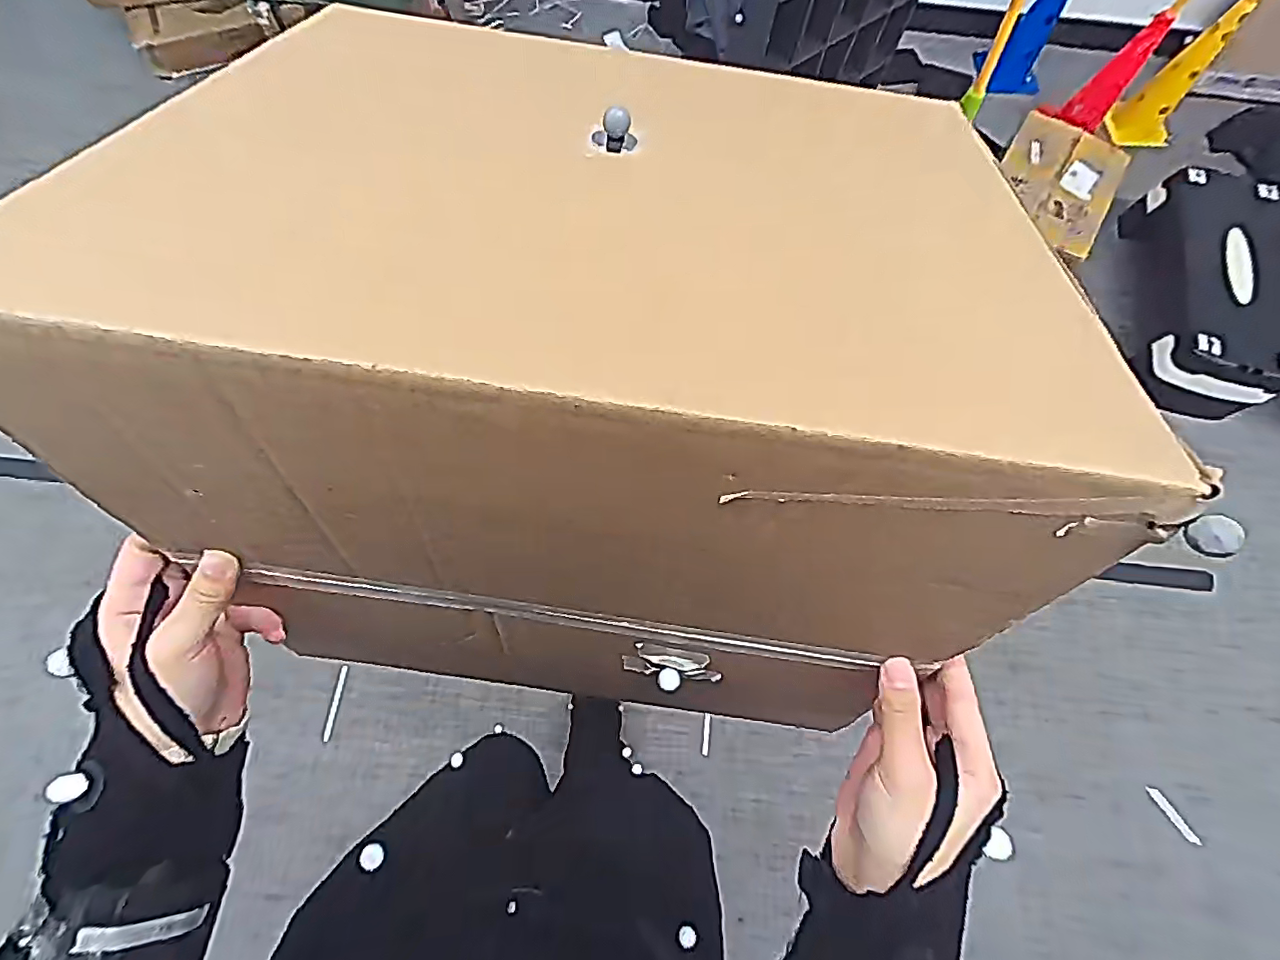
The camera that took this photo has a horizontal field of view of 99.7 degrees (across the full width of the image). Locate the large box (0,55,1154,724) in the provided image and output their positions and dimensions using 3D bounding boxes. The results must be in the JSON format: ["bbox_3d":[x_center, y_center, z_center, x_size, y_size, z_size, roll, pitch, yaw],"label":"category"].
[{"bbox_3d":[-0.028,-0.051,0.381,0.408,0.320,0.320,8,54,0],"label":"large box"}]
